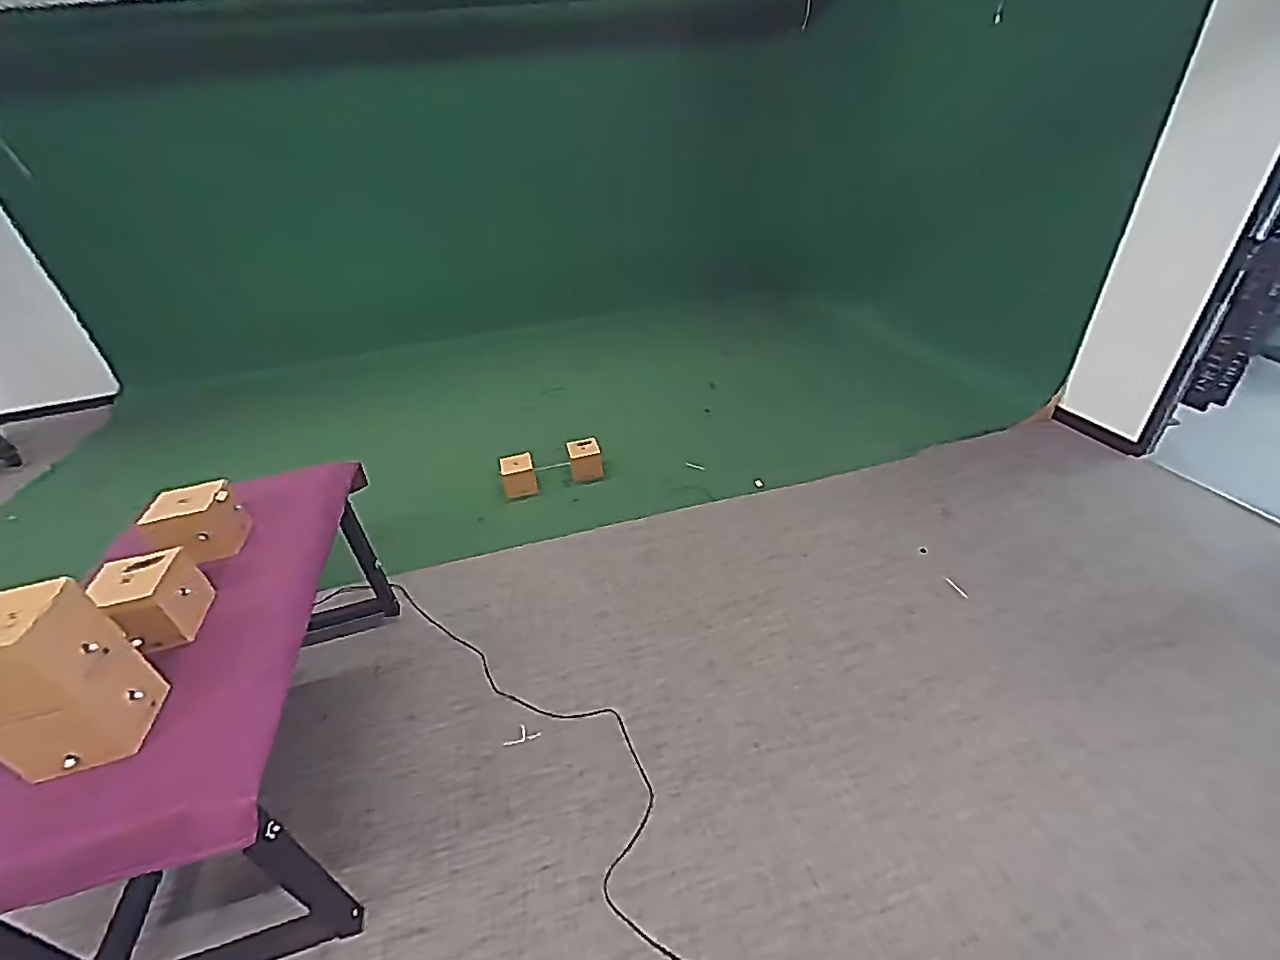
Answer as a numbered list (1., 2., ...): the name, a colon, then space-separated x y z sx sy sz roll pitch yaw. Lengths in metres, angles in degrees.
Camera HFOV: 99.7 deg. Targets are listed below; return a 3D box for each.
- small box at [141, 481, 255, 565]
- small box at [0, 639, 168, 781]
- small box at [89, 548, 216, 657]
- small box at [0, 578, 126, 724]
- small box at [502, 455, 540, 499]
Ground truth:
1. small box: -1.254 0.131 1.553 0.179 0.176 0.168 -13 34 -10
2. small box: -1.087 0.448 1.057 0.179 0.176 0.168 -13 34 -11
3. small box: -1.165 0.296 1.294 0.168 0.176 0.179 -14 36 -11
4. small box: -1.100 0.310 0.967 0.179 0.176 0.168 -13 35 -11
5. small box: -0.650 -0.011 2.960 0.168 0.176 0.179 -13 34 -10
